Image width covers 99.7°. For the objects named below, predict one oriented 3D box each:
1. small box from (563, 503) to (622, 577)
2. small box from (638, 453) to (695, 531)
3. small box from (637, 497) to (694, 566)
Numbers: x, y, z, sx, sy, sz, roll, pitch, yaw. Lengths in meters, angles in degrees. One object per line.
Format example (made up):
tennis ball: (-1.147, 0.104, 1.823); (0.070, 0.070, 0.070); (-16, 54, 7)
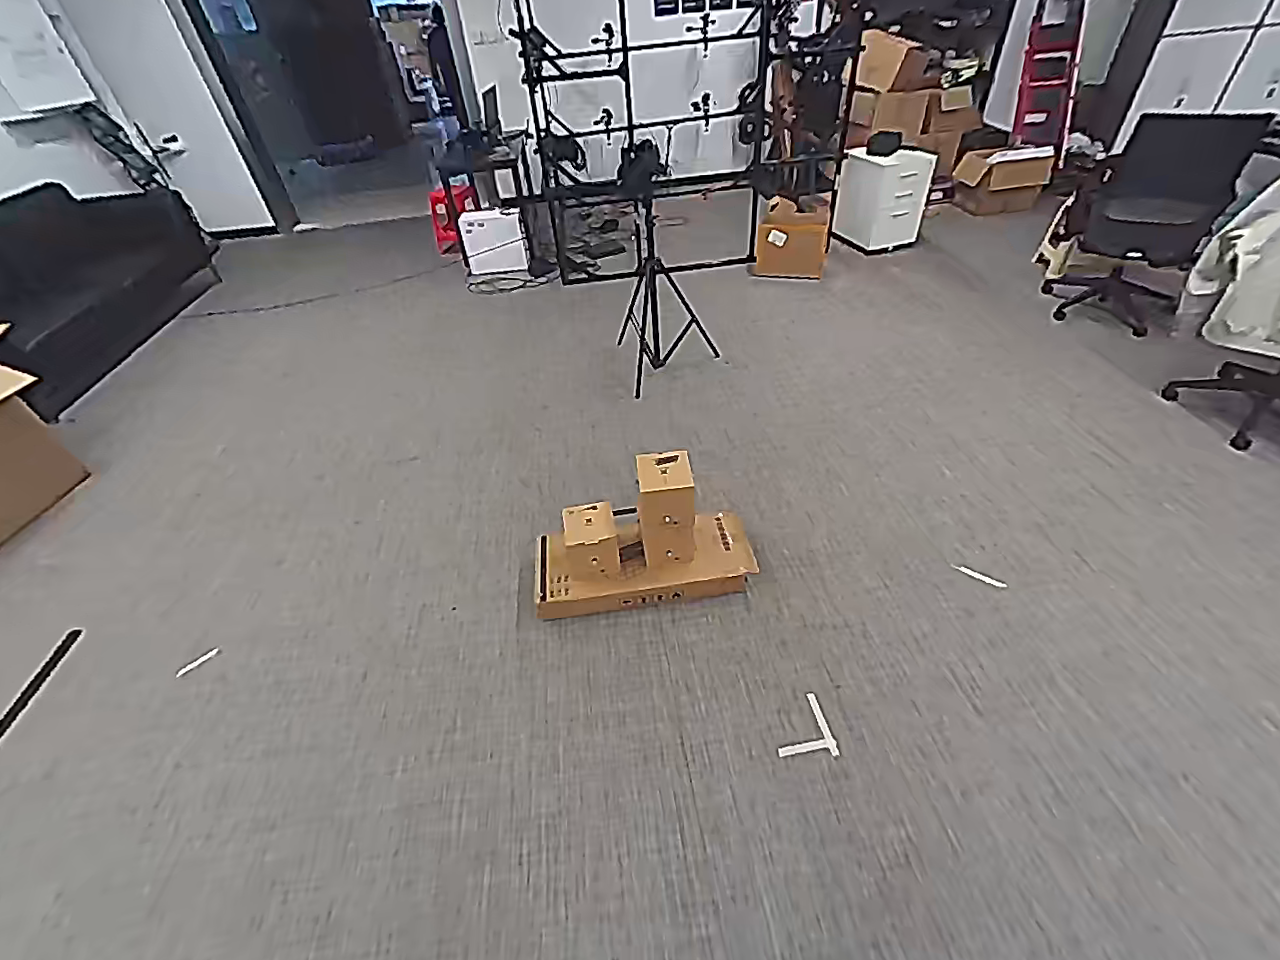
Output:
small box: (-0.158, 0.205, 1.805); (0.168, 0.176, 0.179); (-10, 42, -5)
small box: (0.082, 0.039, 1.719); (0.168, 0.176, 0.179); (-7, 41, 0)
small box: (0.086, 0.165, 1.824); (0.168, 0.176, 0.179); (-9, 41, -3)
